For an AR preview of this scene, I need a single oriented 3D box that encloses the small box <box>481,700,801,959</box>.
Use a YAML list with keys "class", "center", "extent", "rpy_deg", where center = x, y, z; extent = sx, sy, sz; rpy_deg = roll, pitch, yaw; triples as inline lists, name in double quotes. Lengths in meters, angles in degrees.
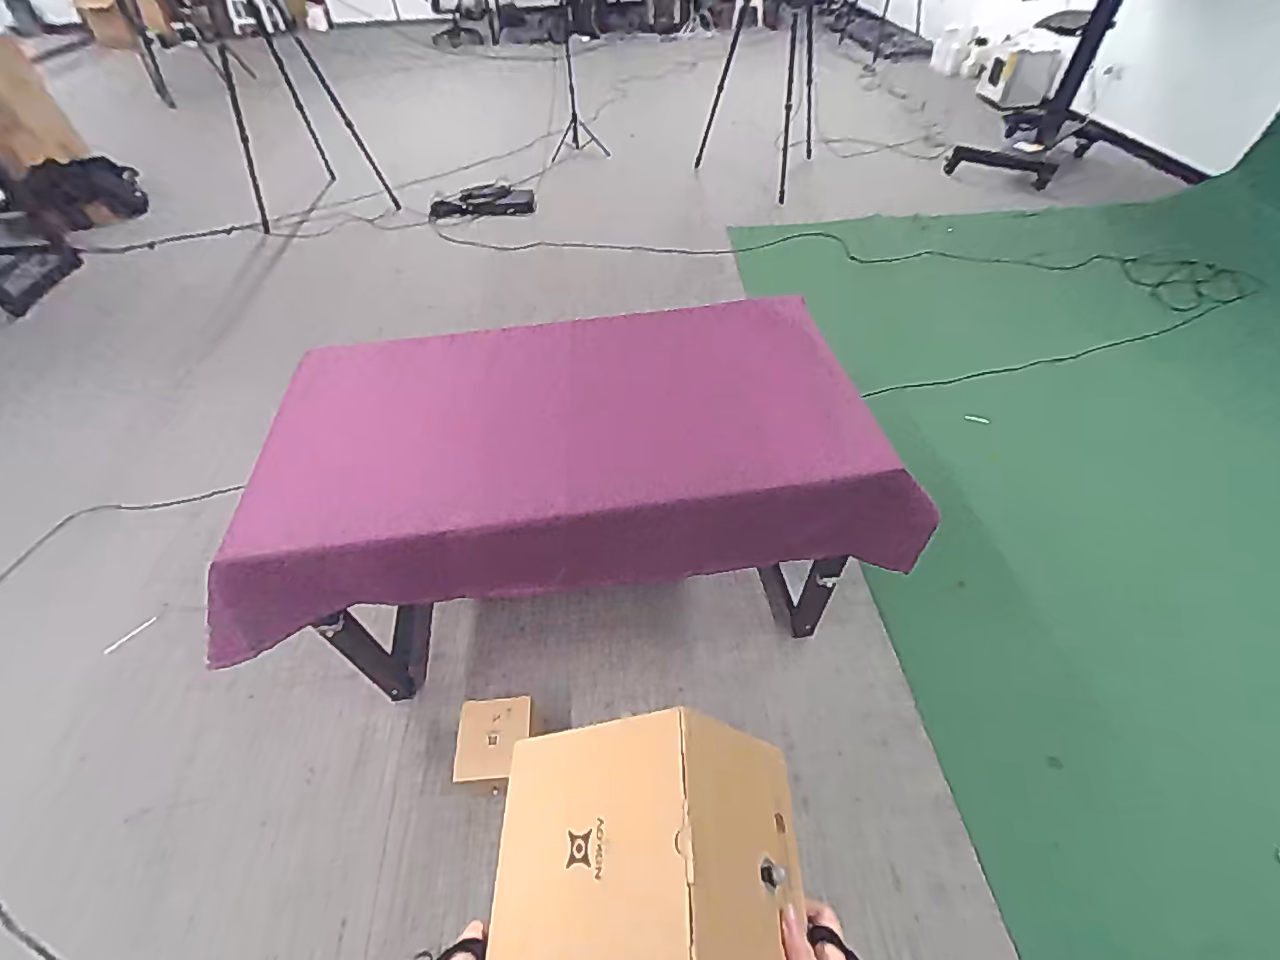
- class: "small box"
  center: [0.005, 0.297, 0.438]
  extent: [0.179, 0.176, 0.168]
  rpy_deg: [-25, 45, 27]
